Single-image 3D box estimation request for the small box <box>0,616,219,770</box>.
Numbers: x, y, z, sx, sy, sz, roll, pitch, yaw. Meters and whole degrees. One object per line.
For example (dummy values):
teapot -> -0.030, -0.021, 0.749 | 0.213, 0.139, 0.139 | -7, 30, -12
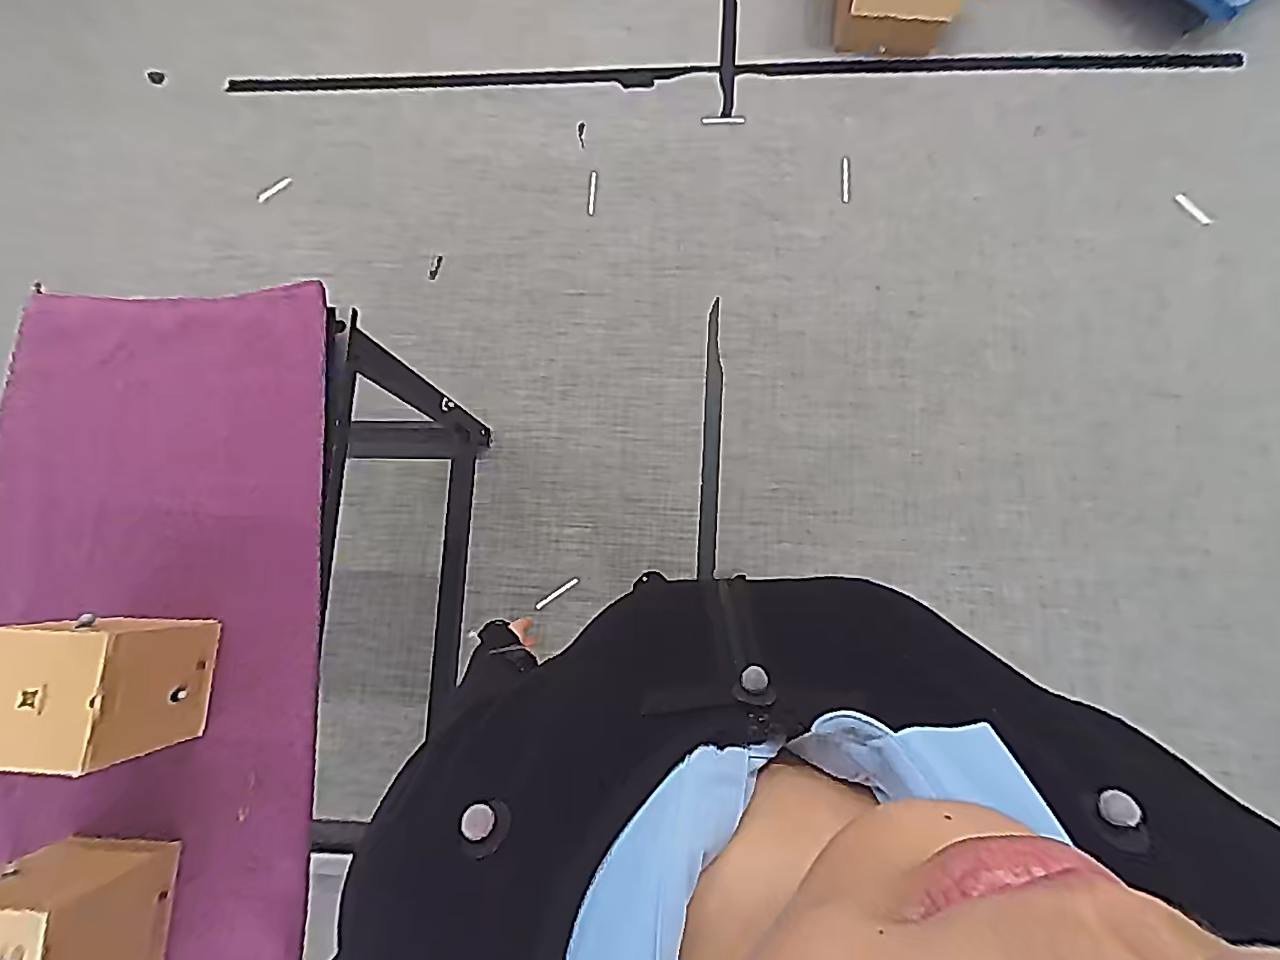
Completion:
small box -> -0.735, 0.277, 0.739 | 0.179, 0.176, 0.168 | 1, 80, 4
